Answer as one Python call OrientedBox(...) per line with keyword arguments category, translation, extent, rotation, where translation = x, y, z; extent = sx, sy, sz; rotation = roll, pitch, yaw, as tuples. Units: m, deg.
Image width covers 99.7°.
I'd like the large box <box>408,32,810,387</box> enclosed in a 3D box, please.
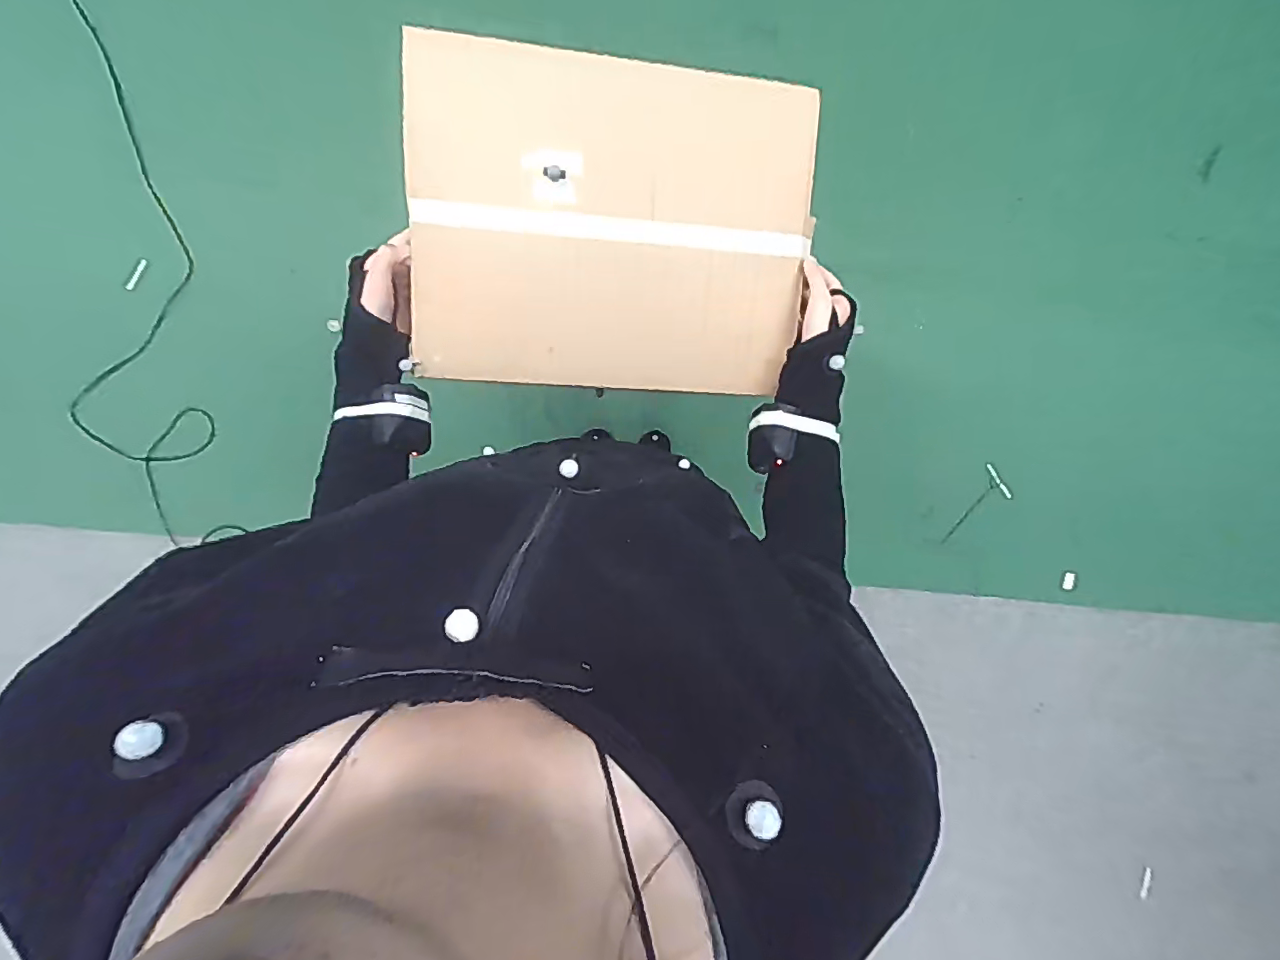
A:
OrientedBox(category="large box", translation=(-0.047, -0.297, 0.704), extent=(0.408, 0.320, 0.320), rotation=(2, 102, -9))
